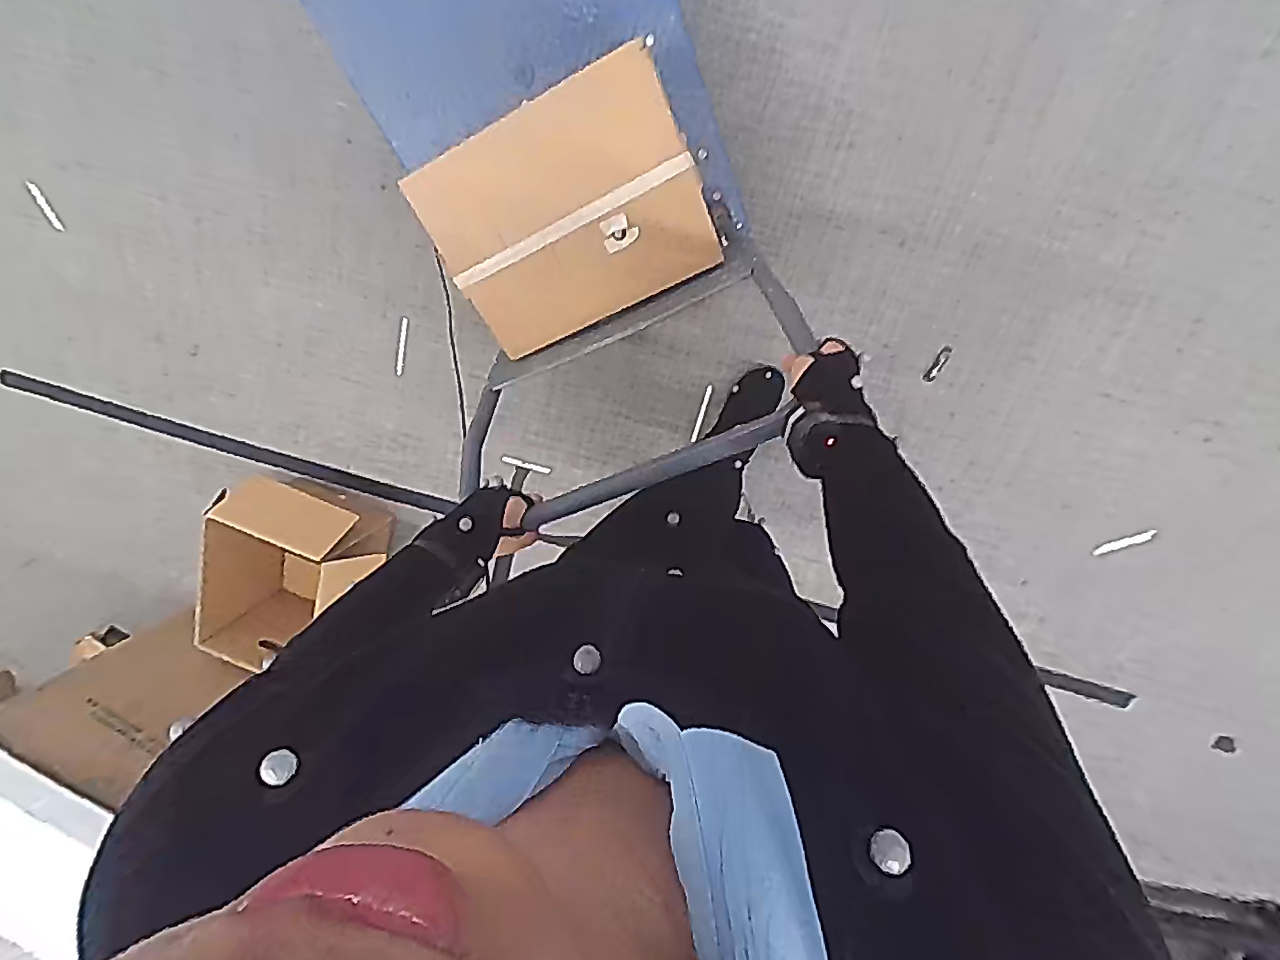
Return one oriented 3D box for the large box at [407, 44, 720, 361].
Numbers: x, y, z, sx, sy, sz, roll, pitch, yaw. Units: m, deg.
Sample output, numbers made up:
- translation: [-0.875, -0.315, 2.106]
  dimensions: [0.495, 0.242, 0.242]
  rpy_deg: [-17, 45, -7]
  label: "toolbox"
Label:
- translation: [-0.115, -0.477, 0.963]
  dimensions: [0.408, 0.320, 0.320]
  rpy_deg: [-22, 123, 13]
  label: "large box"
